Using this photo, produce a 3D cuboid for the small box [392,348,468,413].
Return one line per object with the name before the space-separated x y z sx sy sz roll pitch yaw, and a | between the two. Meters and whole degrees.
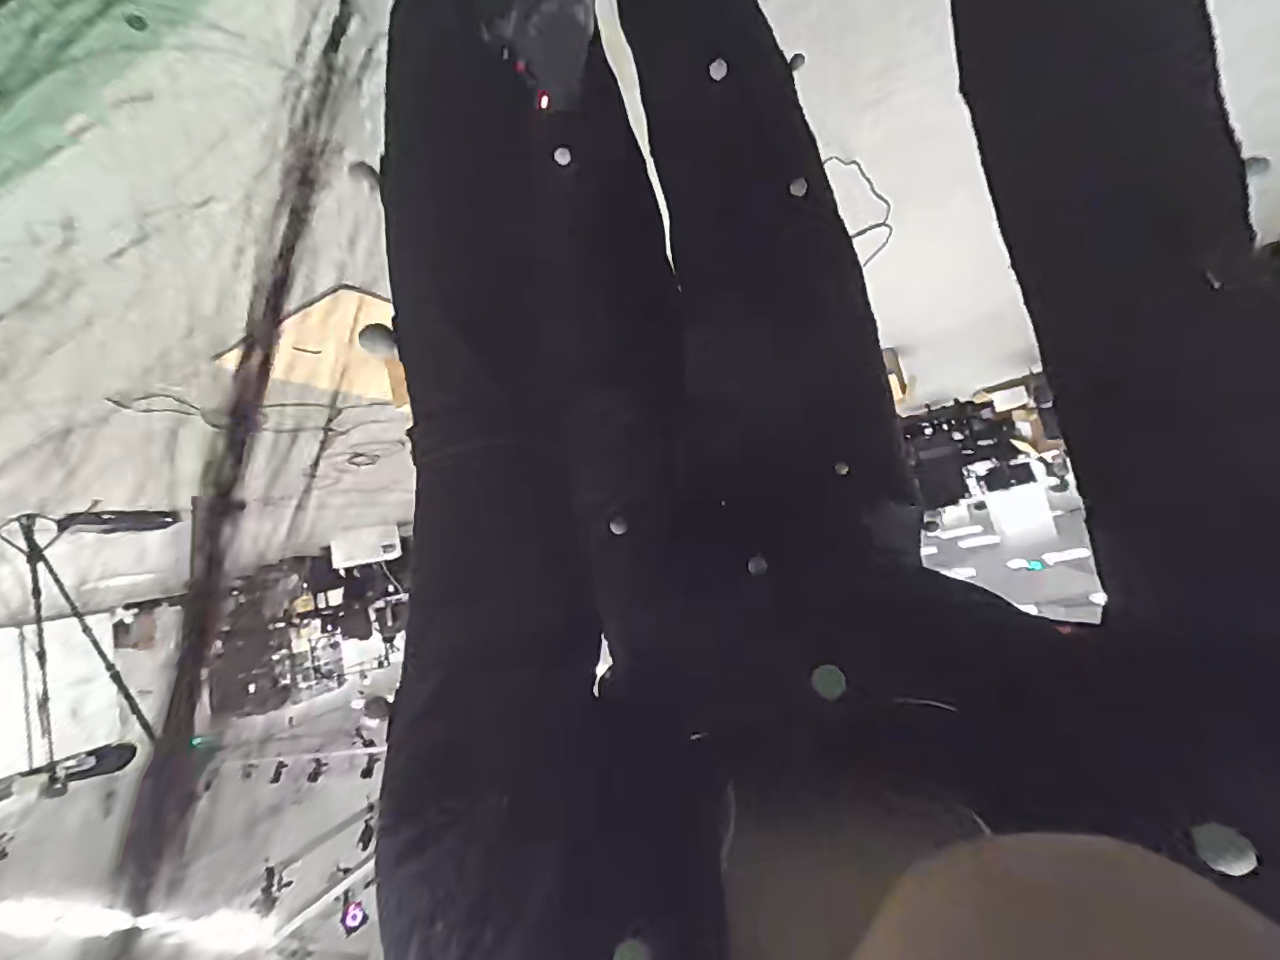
small box | -0.732 -0.343 1.874 0.179 0.176 0.168 -16 173 28
